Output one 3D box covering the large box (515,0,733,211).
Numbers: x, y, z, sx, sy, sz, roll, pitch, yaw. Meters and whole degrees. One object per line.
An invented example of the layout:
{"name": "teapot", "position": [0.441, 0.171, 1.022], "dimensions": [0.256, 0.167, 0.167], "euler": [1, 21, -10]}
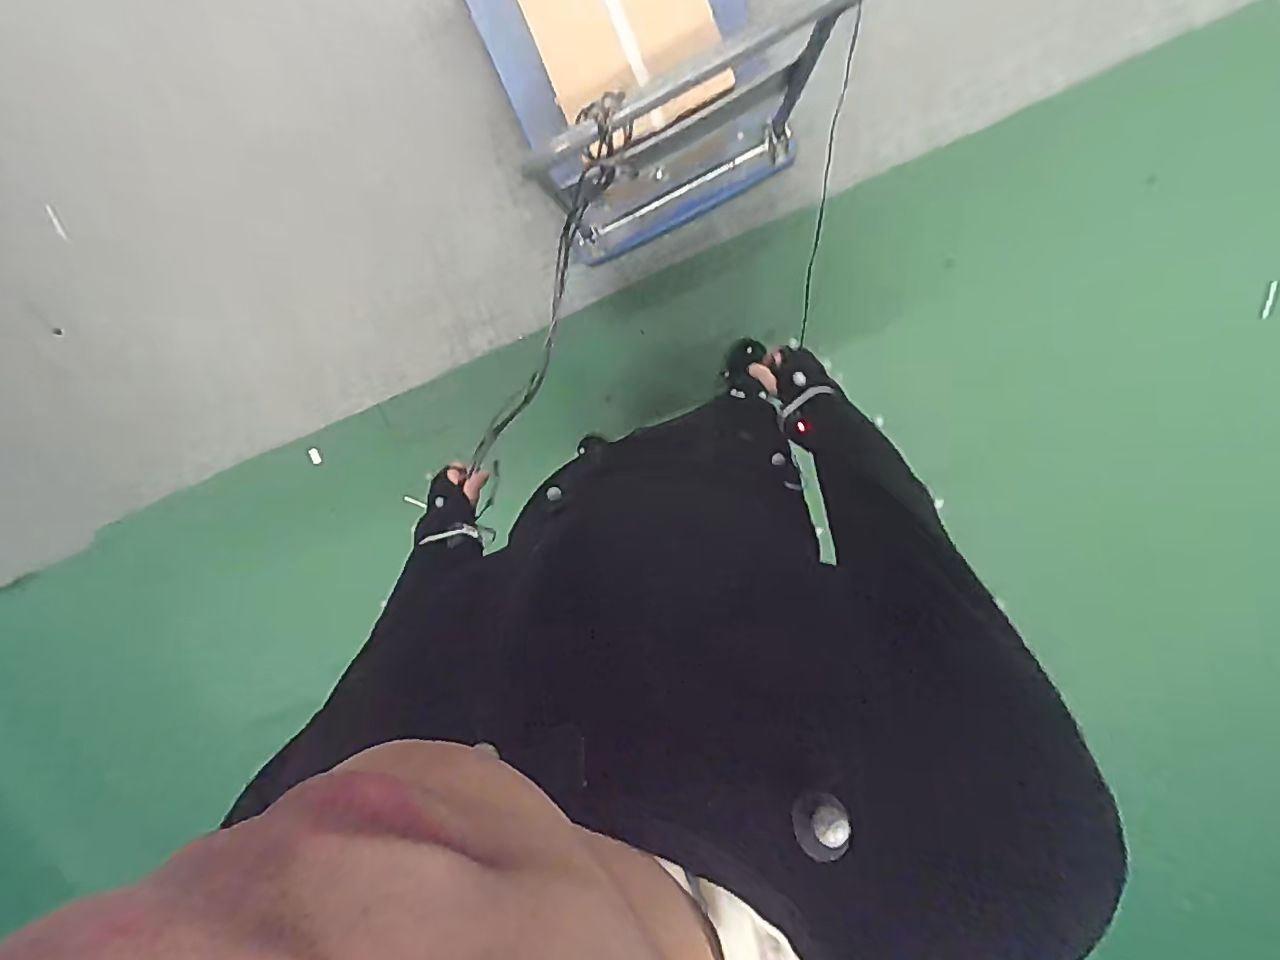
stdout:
{"name": "large box", "position": [-0.025, -0.867, 1.141], "dimensions": [0.320, 0.320, 0.408], "euler": [-22, 98, 9]}
